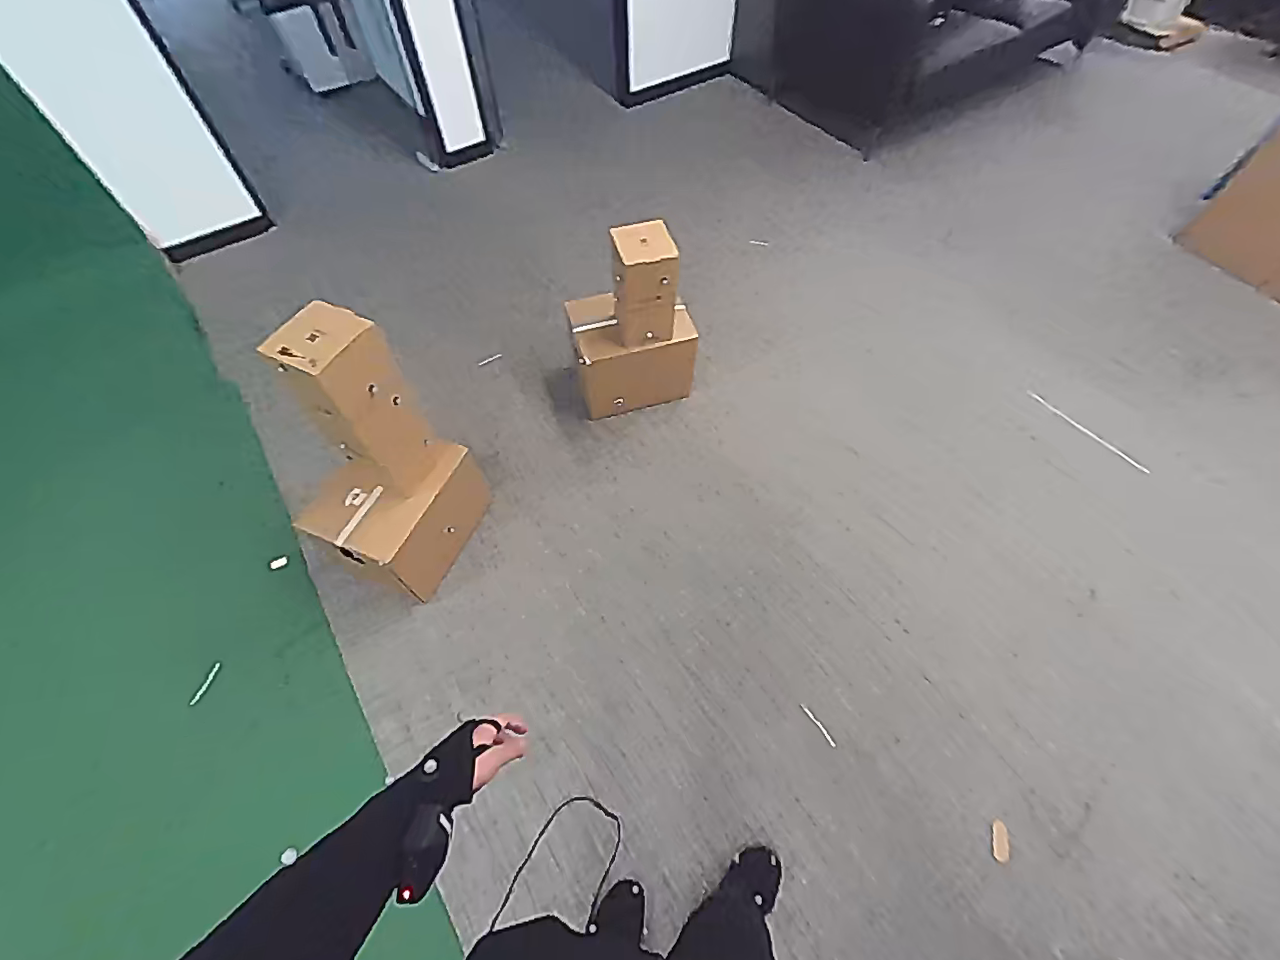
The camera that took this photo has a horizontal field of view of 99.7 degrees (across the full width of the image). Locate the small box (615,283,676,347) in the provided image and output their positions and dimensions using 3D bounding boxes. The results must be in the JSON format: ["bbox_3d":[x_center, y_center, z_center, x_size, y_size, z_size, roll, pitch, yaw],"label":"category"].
[{"bbox_3d":[0.012,-0.569,1.779,0.168,0.176,0.179,-13,60,-8],"label":"small box"}]

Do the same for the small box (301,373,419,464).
[{"bbox_3d":[-0.677,-0.172,1.337,0.168,0.176,0.179,23,61,14],"label":"small box"}]

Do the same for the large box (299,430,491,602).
[{"bbox_3d":[-0.714,0.097,1.654,0.320,0.320,0.408,18,61,13],"label":"large box"}]

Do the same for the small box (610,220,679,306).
[{"bbox_3d":[0.012,-0.648,1.636,0.168,0.176,0.179,-14,60,-9],"label":"small box"}]

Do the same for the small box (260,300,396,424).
[{"bbox_3d":[-0.673,-0.258,1.198,0.168,0.176,0.179,23,60,14],"label":"small box"}]
